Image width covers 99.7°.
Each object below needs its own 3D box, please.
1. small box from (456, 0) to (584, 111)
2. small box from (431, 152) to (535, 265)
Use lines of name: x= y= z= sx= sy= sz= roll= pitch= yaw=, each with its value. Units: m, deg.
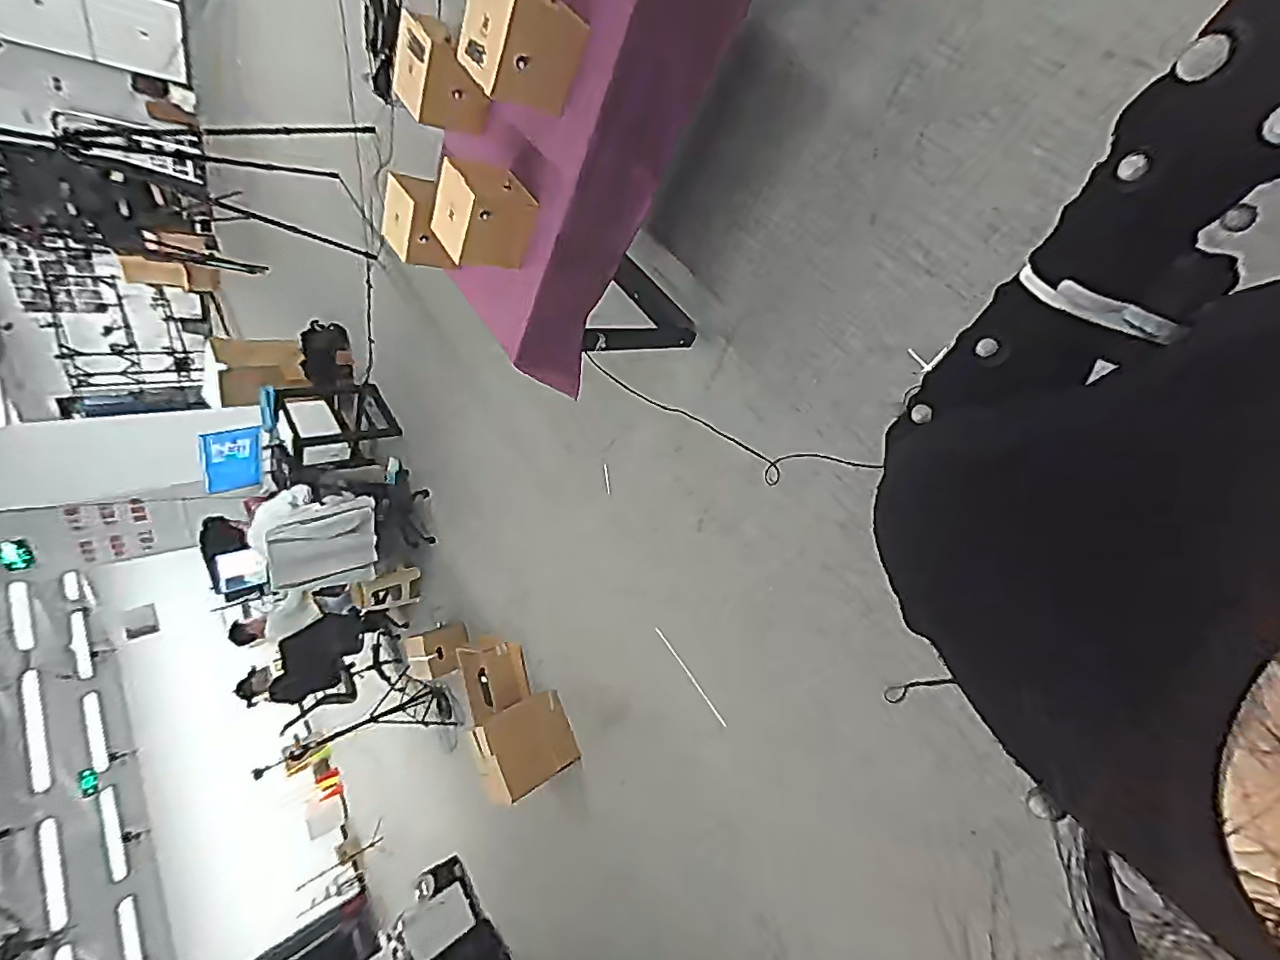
small box: x=-0.237 y=-0.879 z=1.075 sx=0.168 sy=0.176 sz=0.179 roll=55 pitch=133 yaw=21
small box: x=-0.375 y=-0.638 z=1.293 sx=0.168 sy=0.176 sz=0.179 roll=54 pitch=133 yaw=22
